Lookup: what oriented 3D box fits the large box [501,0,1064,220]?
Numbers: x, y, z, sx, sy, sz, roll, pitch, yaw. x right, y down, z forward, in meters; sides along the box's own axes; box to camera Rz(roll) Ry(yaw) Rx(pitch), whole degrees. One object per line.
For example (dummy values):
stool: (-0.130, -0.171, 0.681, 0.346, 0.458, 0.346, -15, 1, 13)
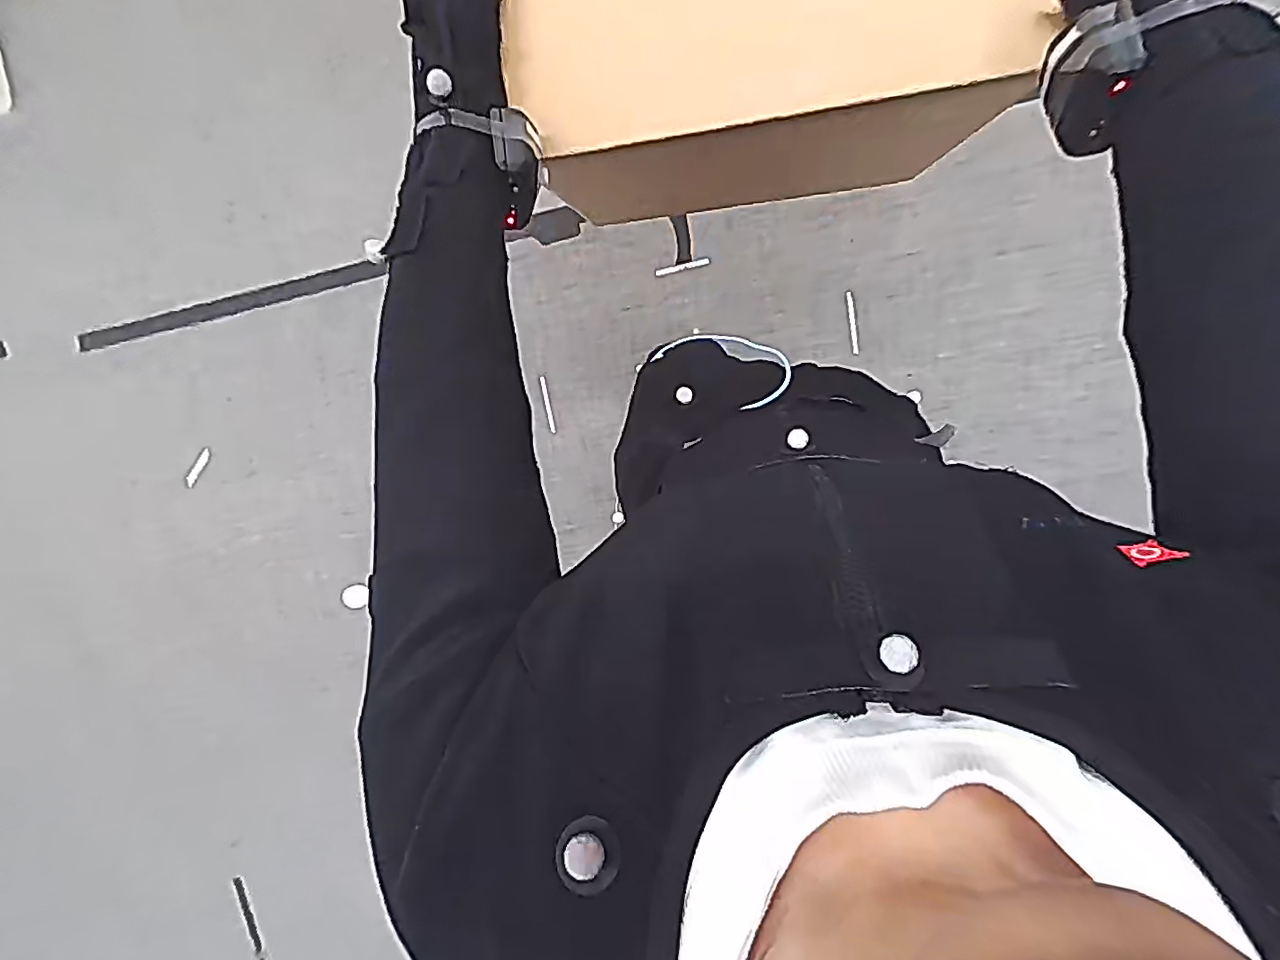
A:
large box: (0.098, -0.469, 0.513, 0.408, 0.320, 0.320, -5, 106, 8)
